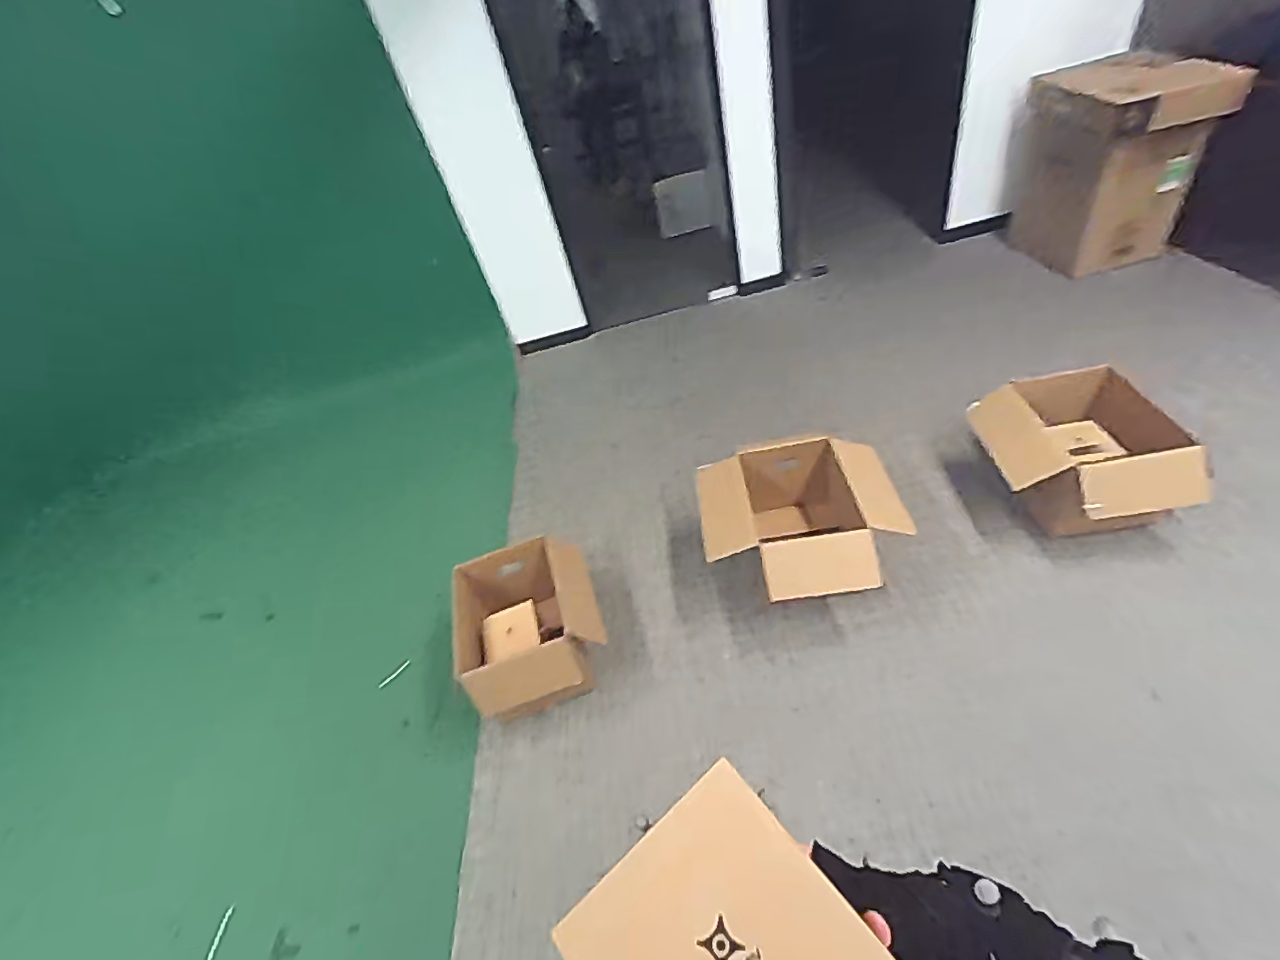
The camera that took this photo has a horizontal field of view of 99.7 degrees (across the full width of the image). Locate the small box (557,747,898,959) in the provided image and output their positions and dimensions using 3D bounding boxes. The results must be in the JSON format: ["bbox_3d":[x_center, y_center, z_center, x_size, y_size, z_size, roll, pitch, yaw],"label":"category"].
[{"bbox_3d":[0.058,0.348,0.420,0.168,0.176,0.179,-34,62,-19],"label":"small box"}]
